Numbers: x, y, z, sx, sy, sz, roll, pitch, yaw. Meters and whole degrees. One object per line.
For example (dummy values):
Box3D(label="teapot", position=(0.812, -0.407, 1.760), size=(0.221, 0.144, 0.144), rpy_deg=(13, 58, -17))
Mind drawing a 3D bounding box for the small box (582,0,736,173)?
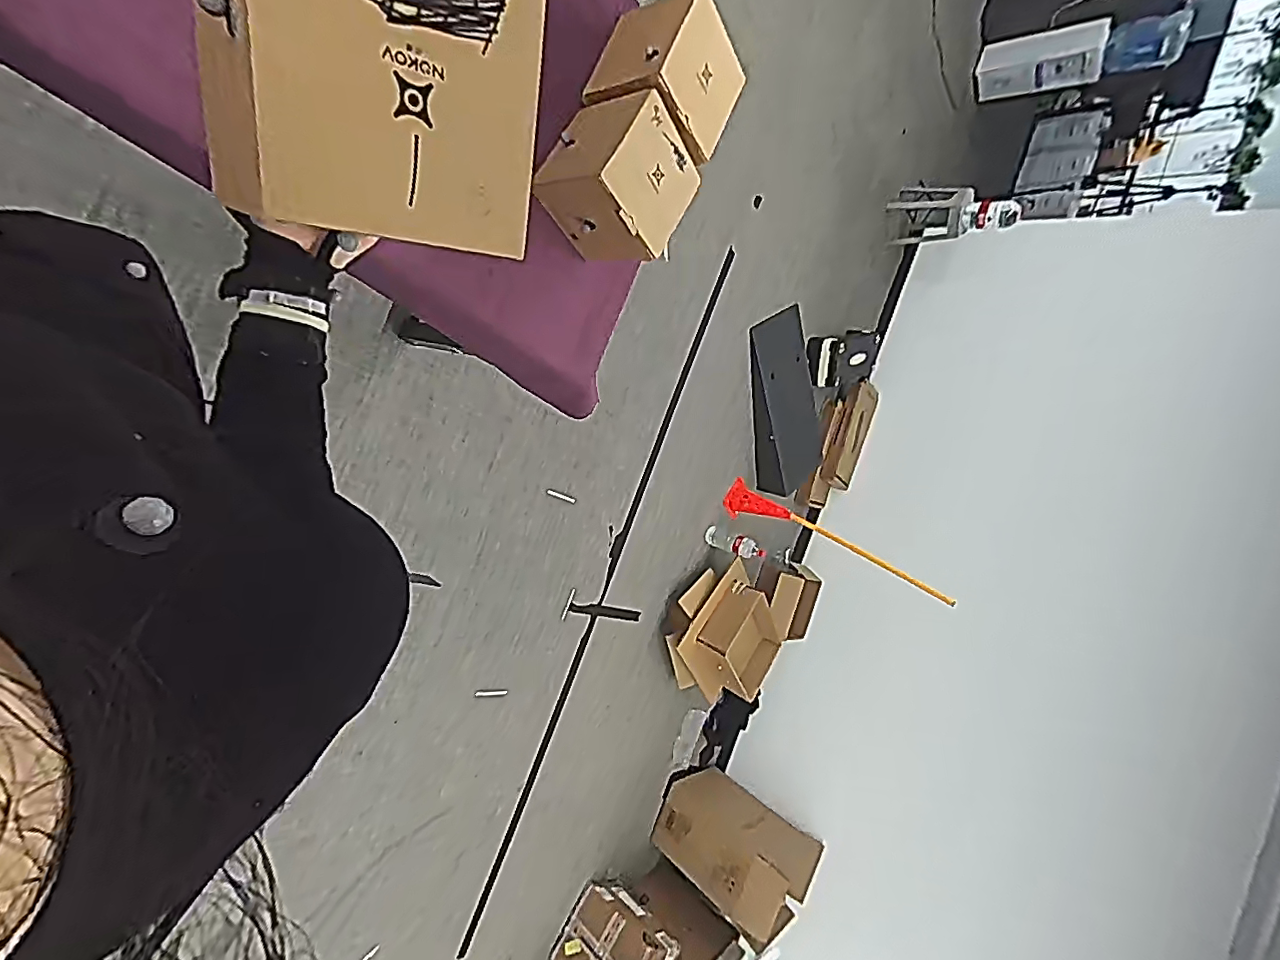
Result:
Box3D(label="small box", position=(0.031, -0.654, 0.907), size=(0.168, 0.176, 0.179), rpy_deg=(33, 78, -51))

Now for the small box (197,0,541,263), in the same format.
Box3D(label="small box", position=(-0.190, -0.264, 0.379), size=(0.168, 0.176, 0.179), rpy_deg=(-11, 120, -43))
